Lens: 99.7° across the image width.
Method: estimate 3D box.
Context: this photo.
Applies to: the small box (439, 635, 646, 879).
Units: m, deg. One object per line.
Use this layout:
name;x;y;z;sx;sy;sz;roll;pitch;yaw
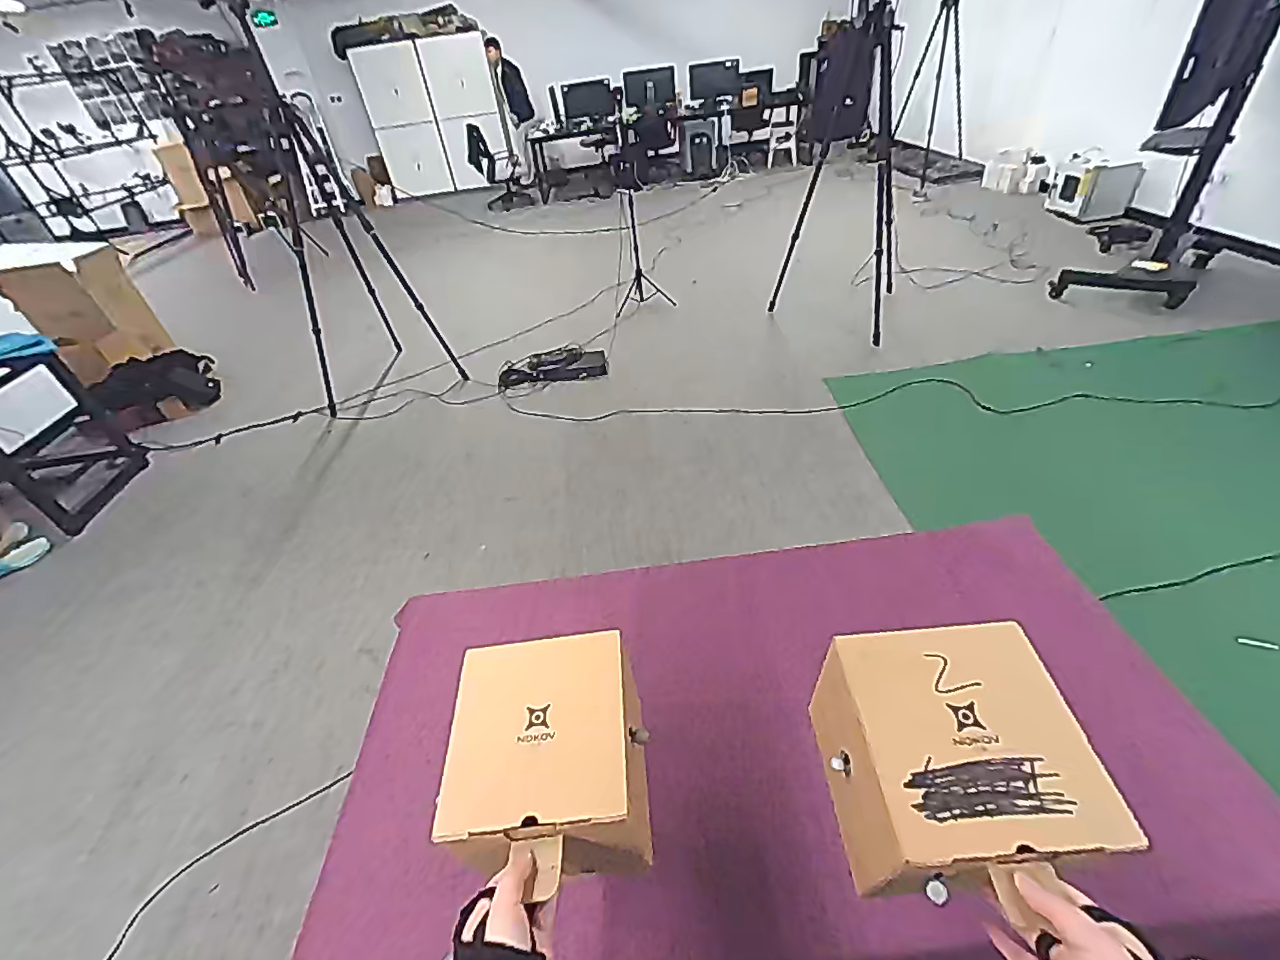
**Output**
small box;-0.088;0.292;0.573;0.168;0.176;0.179;-8;43;2
